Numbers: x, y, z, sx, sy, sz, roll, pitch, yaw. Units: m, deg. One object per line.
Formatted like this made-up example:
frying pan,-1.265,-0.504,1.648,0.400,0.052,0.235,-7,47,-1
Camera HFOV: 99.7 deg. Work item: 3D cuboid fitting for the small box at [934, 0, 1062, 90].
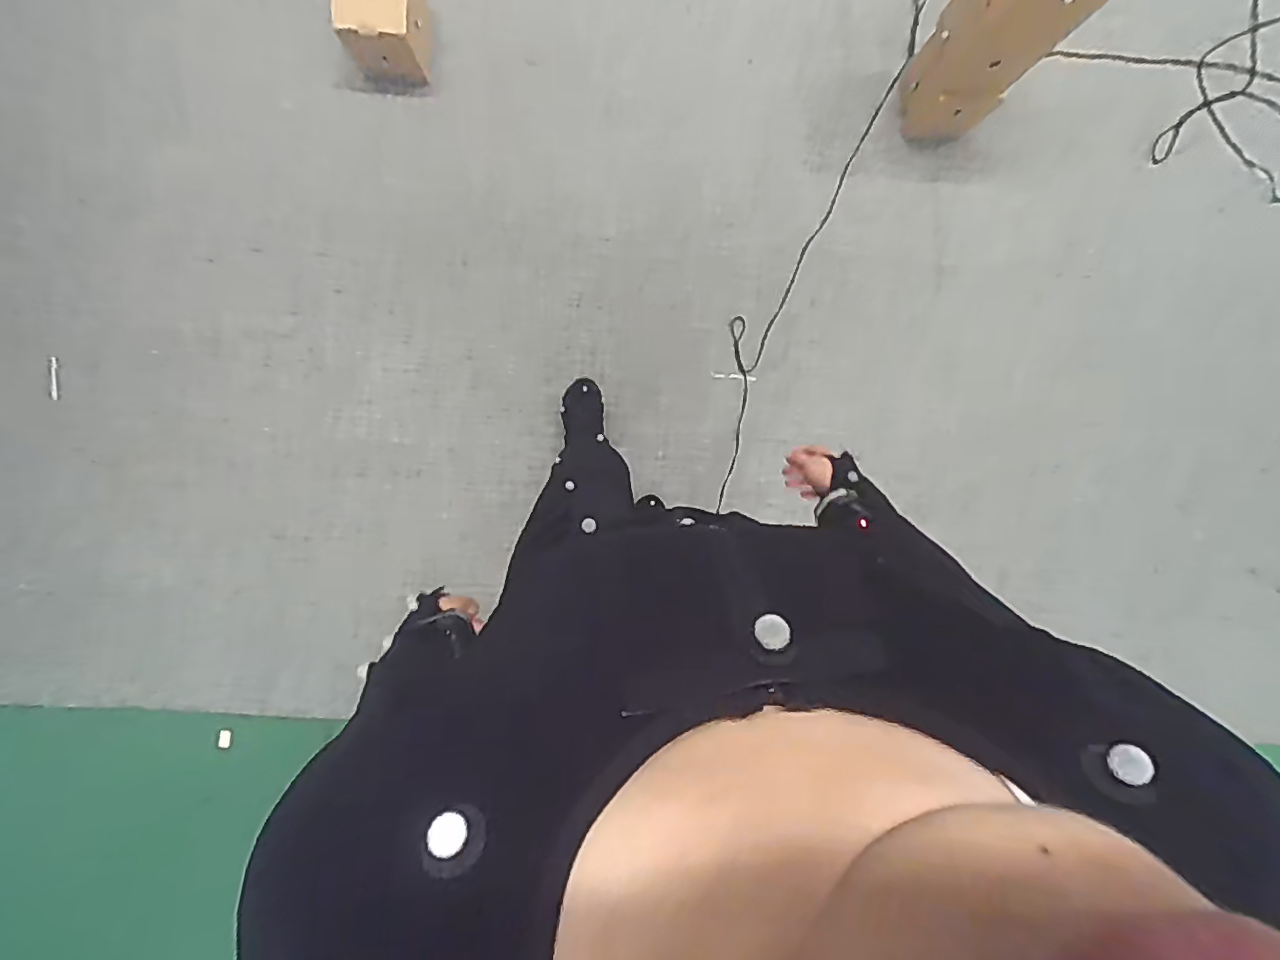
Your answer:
small box,0.777,-0.991,1.182,0.179,0.176,0.168,-1,93,-1

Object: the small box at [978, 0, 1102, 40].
small box,0.779,-0.974,1.020,0.179,0.176,0.168,-2,94,-1

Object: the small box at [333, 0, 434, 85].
small box,-0.603,-1.085,1.288,0.168,0.176,0.179,4,94,-3

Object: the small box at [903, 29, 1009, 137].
small box,0.775,-0.984,1.346,0.179,0.176,0.168,-5,95,-2
